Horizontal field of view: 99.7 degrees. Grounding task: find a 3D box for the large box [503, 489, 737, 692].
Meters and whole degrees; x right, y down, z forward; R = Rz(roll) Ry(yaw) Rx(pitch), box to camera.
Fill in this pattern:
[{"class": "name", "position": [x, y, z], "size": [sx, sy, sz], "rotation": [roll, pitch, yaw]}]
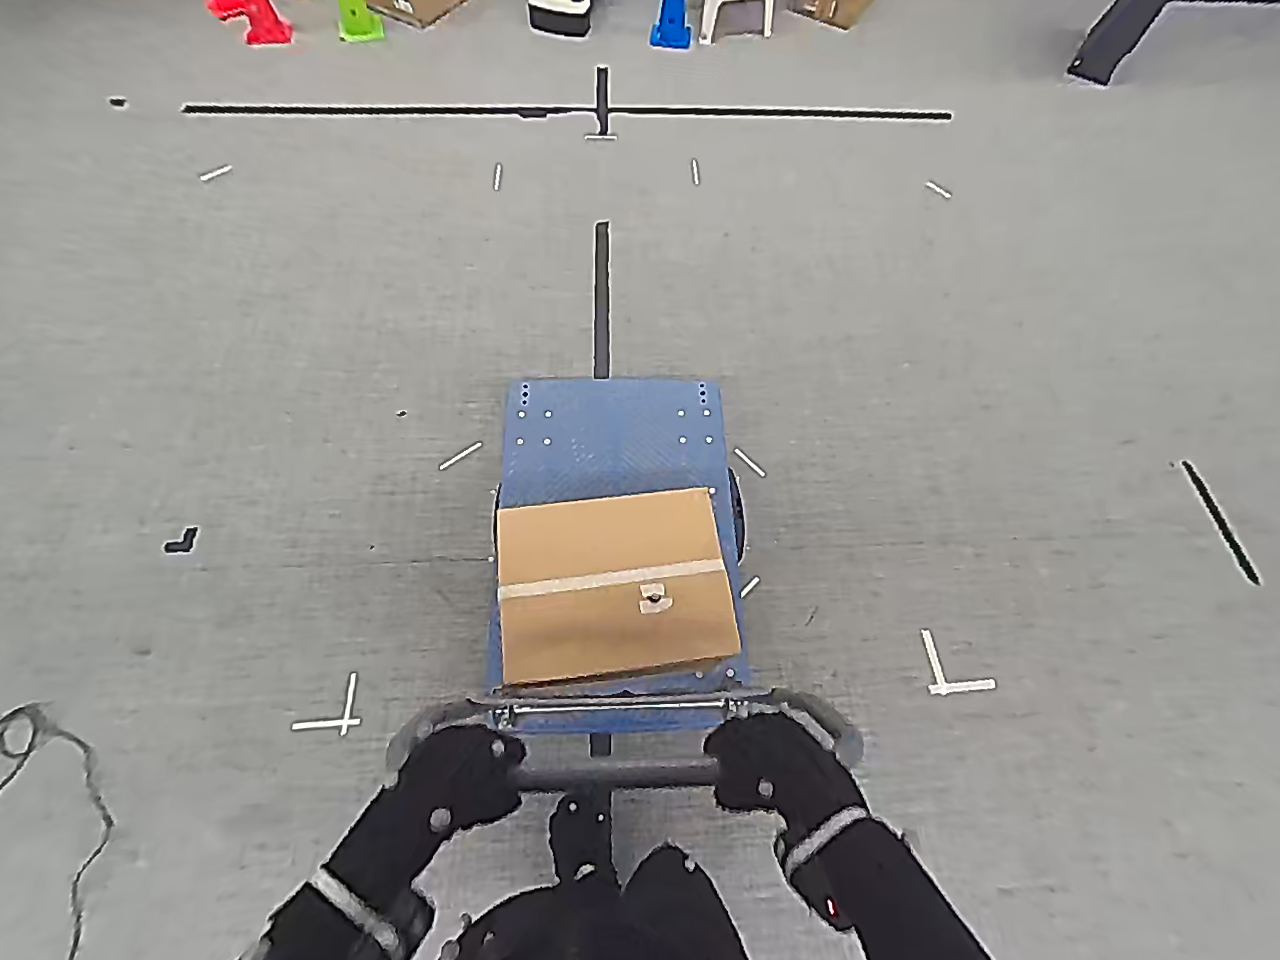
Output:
[{"class": "large box", "position": [-0.054, 0.240, 1.123], "size": [0.408, 0.320, 0.320], "rotation": [-6, 66, -6]}]
